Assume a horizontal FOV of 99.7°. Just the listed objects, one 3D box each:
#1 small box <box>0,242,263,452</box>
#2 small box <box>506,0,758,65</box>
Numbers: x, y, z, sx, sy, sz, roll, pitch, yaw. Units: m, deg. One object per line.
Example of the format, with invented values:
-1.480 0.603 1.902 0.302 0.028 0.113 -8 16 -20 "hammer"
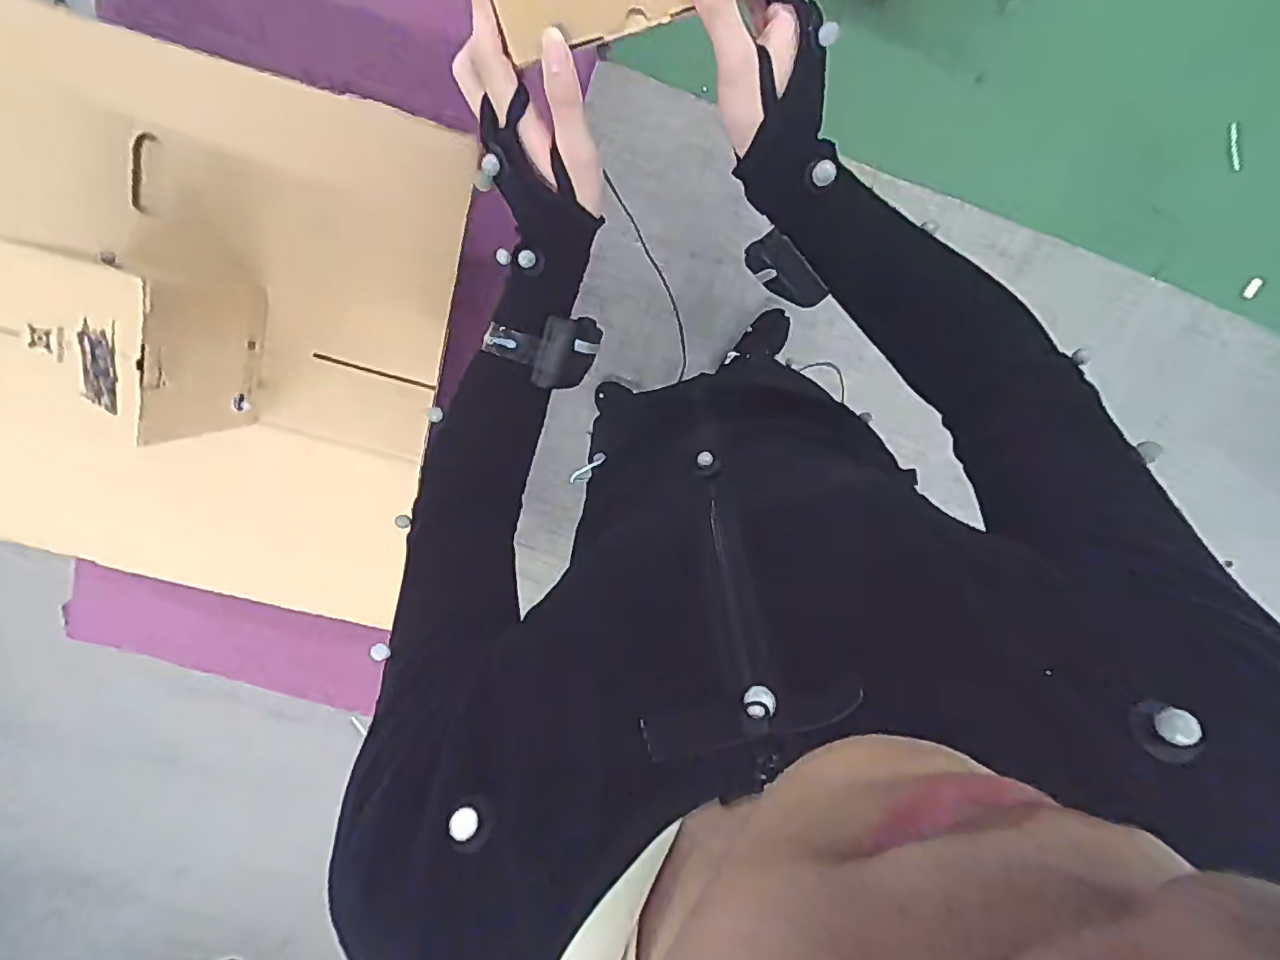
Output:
-0.551 -0.143 0.584 0.179 0.176 0.168 15 103 -3 "small box"
-0.025 -0.396 0.350 0.168 0.176 0.179 -16 129 2 "small box"
